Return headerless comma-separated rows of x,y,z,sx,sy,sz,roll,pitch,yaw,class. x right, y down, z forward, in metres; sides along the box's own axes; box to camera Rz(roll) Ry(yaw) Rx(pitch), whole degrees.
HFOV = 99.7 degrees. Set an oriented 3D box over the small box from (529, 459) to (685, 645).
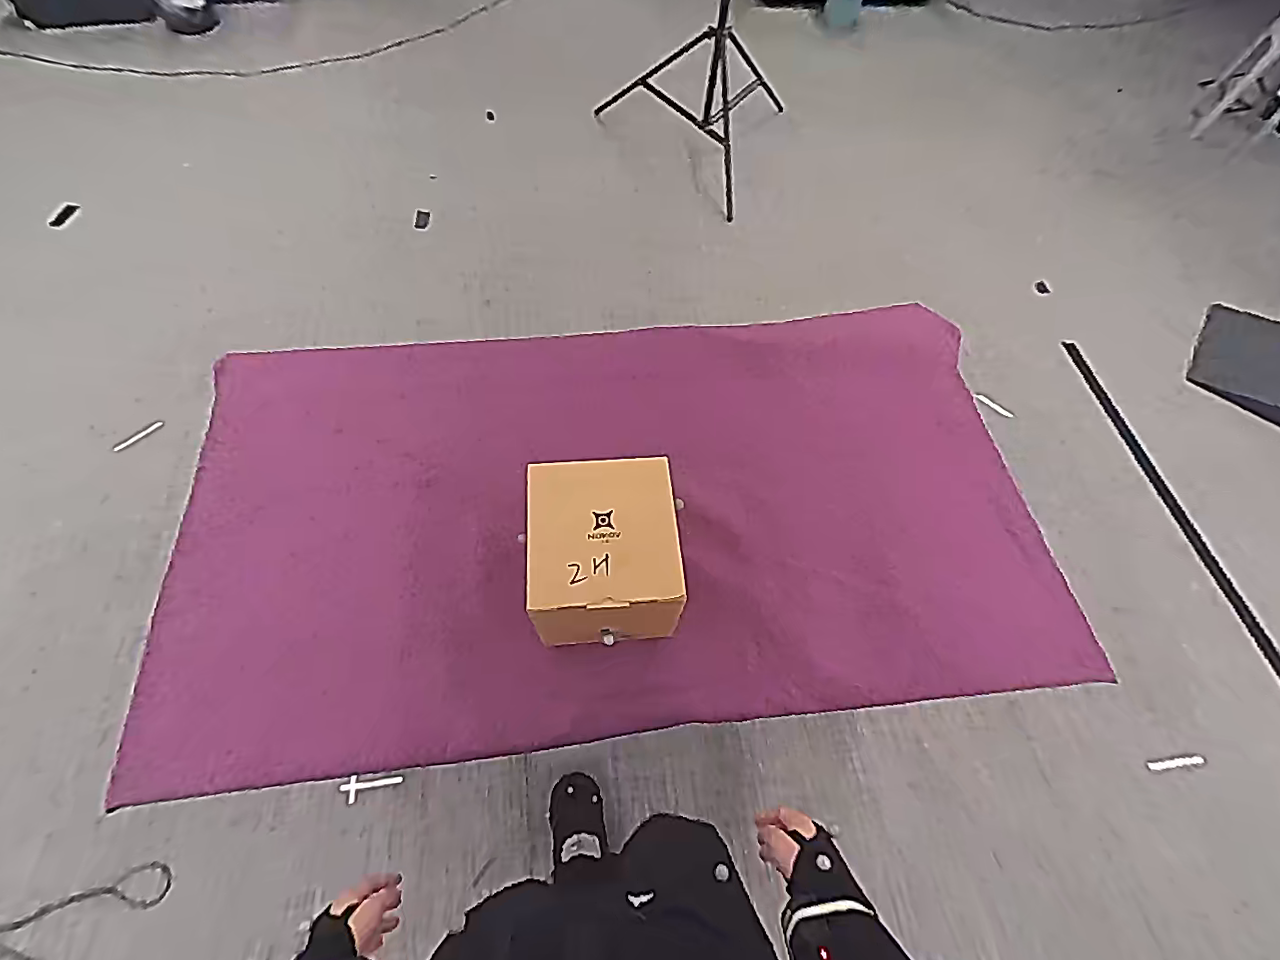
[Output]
-0.045,0.092,0.668,0.168,0.176,0.179,-4,62,-5,small box
